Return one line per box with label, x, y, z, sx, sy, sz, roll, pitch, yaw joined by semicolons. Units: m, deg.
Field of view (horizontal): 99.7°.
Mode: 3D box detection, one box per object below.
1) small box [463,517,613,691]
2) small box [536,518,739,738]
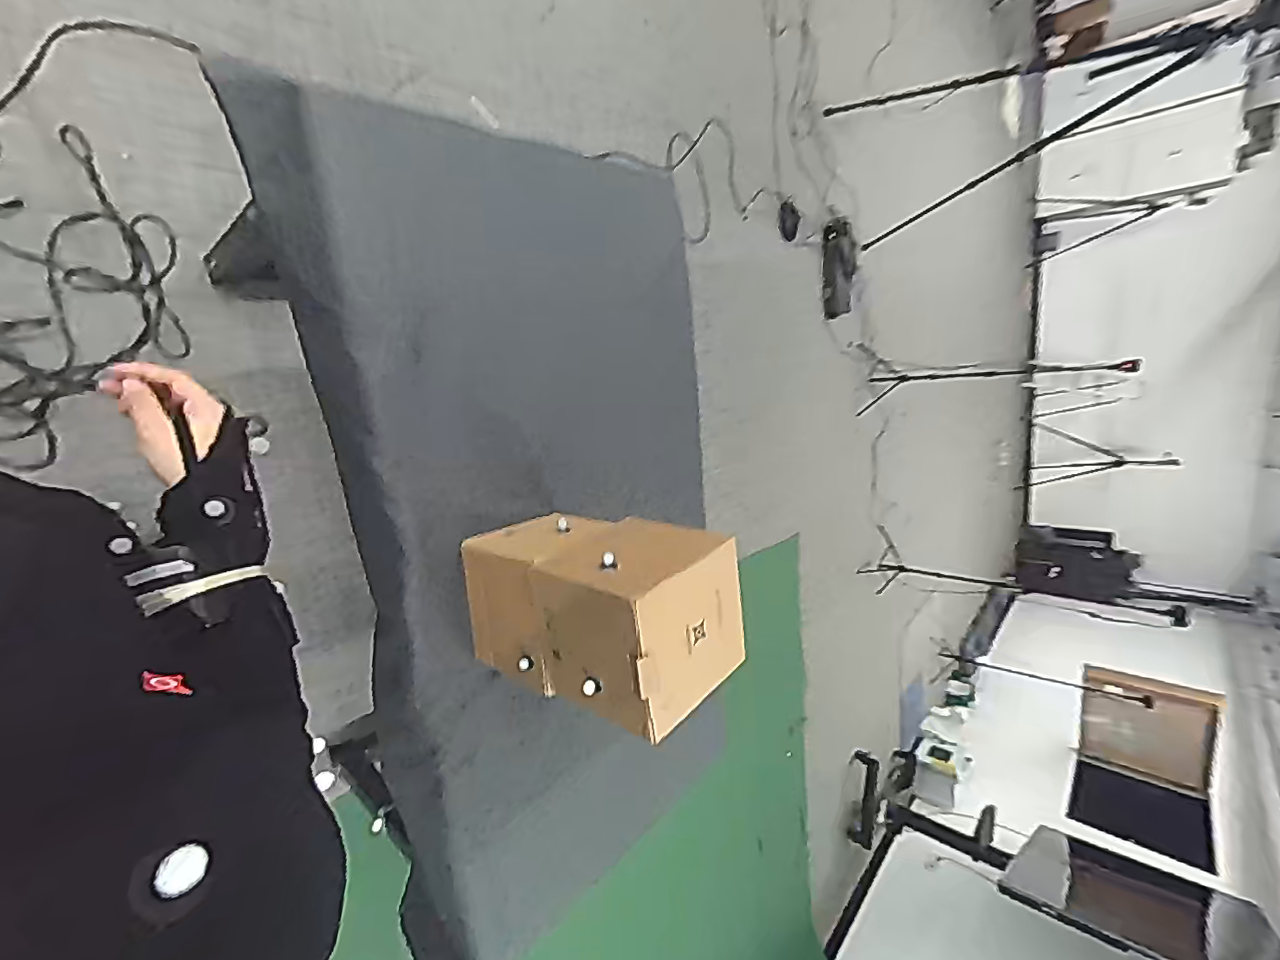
small box;-0.125;0.153;0.747;0.168;0.176;0.179;-15;106;-46
small box;-0.005;0.156;0.638;0.179;0.176;0.168;-24;114;-45
